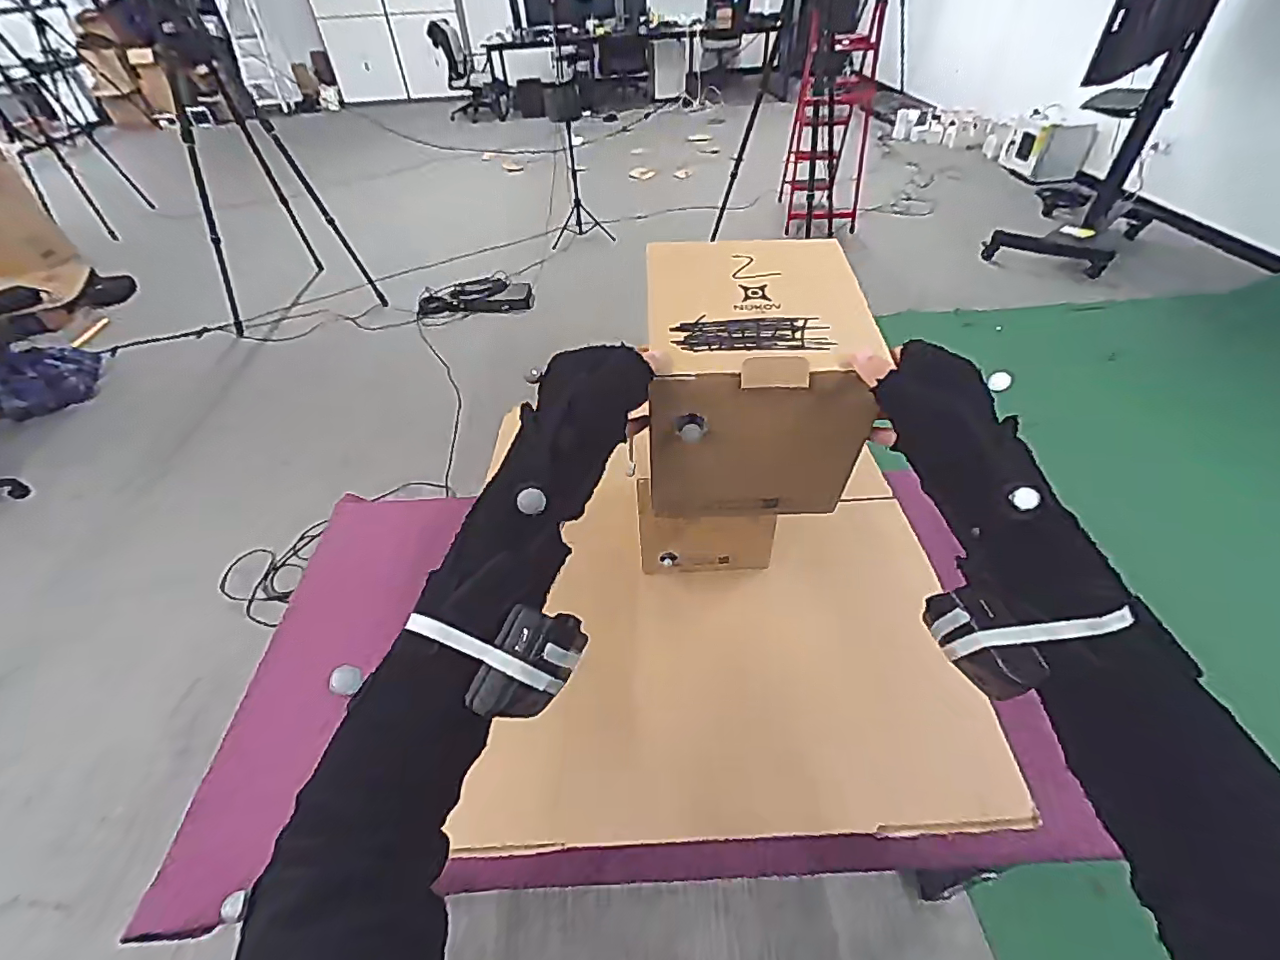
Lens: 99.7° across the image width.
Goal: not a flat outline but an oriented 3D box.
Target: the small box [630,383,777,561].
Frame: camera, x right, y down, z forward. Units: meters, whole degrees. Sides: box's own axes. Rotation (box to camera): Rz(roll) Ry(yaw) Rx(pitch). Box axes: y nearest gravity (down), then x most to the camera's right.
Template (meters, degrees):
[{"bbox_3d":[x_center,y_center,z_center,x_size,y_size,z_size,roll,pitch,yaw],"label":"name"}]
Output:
[{"bbox_3d":[0.075,-0.006,0.711,0.168,0.176,0.179,-3,42,0],"label":"small box"}]
